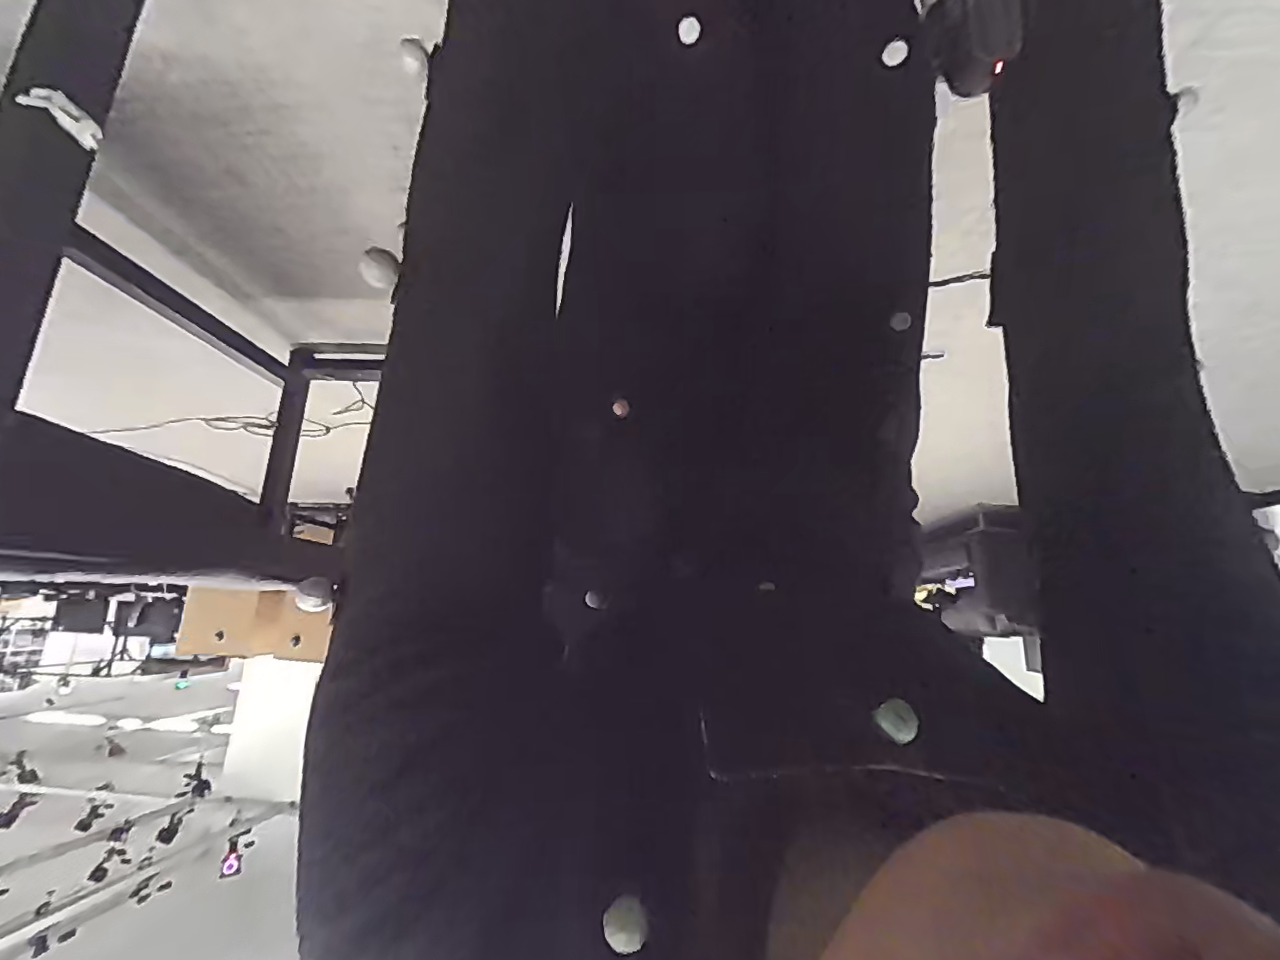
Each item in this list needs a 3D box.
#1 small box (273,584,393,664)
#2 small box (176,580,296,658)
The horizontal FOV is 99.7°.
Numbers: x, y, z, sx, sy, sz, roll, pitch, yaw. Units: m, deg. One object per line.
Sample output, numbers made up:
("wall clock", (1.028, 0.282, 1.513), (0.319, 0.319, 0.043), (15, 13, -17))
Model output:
("small box", (-0.714, 0.335, 1.277), (0.179, 0.176, 0.168), (3, 166, 2))
("small box", (-0.949, 0.329, 1.298), (0.179, 0.176, 0.168), (2, 166, 3))
